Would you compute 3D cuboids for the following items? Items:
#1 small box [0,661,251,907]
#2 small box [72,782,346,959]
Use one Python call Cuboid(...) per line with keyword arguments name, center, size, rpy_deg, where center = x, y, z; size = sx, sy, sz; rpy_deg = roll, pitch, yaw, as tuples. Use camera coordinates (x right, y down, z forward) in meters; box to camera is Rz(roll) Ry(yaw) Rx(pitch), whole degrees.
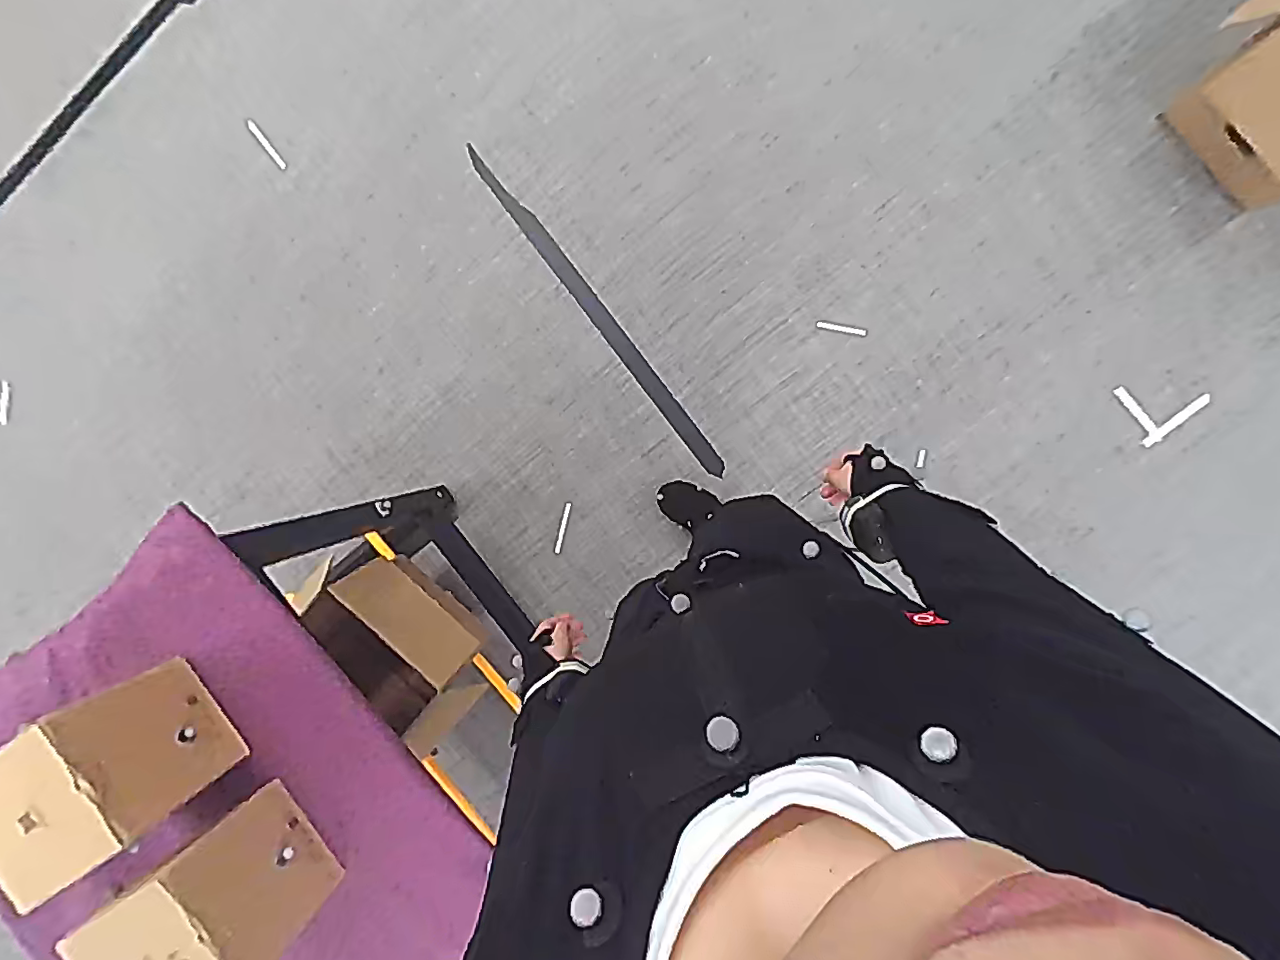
Cuboid(name="small box", center=(-0.651, 0.365, 0.679), size=(0.179, 0.176, 0.168), rpy_deg=(-35, 91, 9))
Cuboid(name="small box", center=(-0.521, 0.530, 0.678), size=(0.179, 0.176, 0.168), rpy_deg=(-35, 90, 9))
